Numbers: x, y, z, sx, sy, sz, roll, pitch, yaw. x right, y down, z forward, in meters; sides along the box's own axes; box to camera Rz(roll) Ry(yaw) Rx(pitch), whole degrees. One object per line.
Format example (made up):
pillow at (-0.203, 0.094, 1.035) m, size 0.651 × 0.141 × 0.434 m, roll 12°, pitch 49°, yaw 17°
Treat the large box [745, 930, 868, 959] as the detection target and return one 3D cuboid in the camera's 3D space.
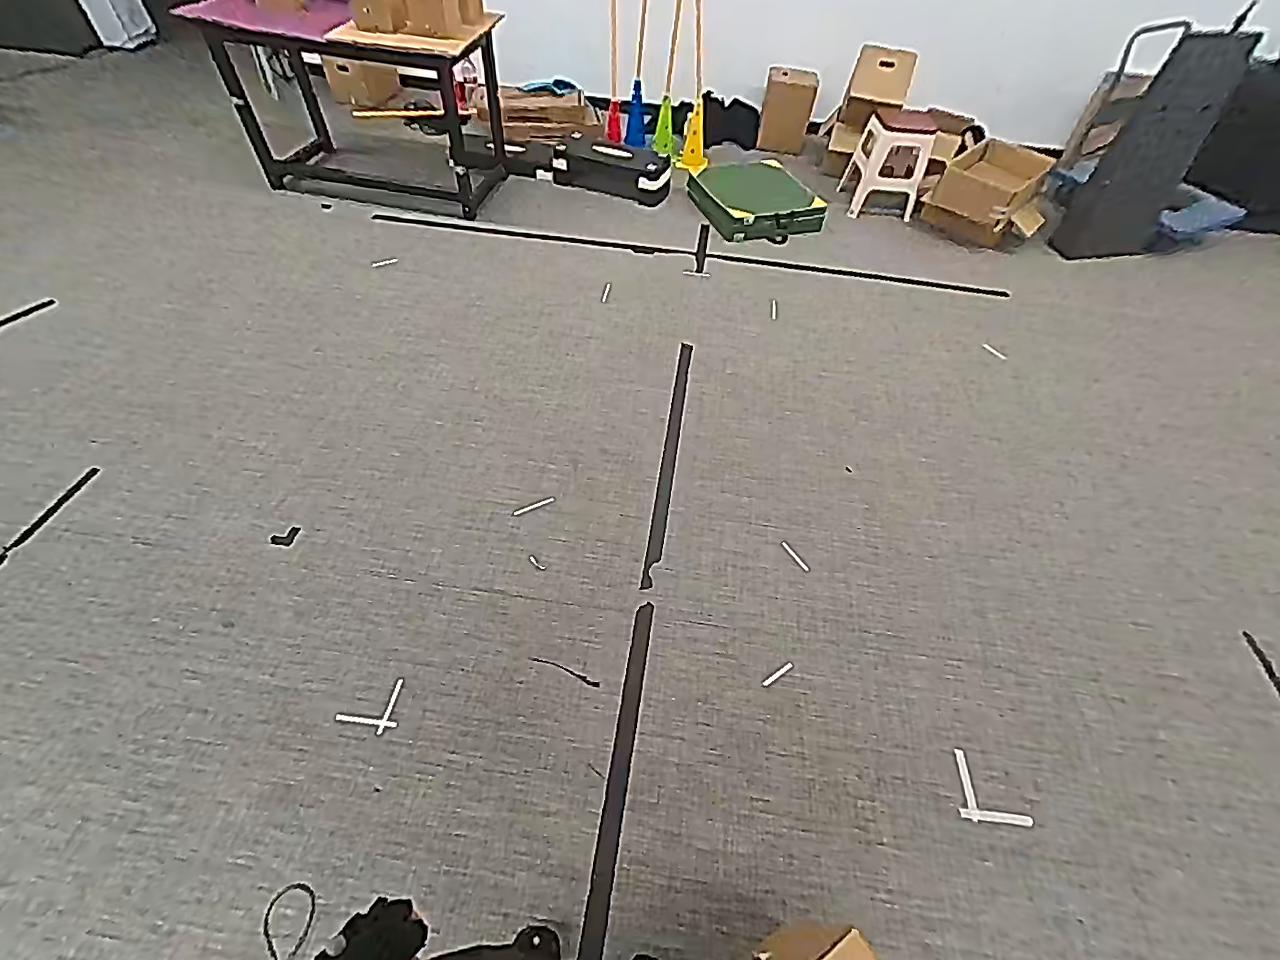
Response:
large box at (0.272, 1.001, 0.875) m, size 0.320 × 0.408 × 0.320 m, roll -23°, pitch 56°, yaw -22°
